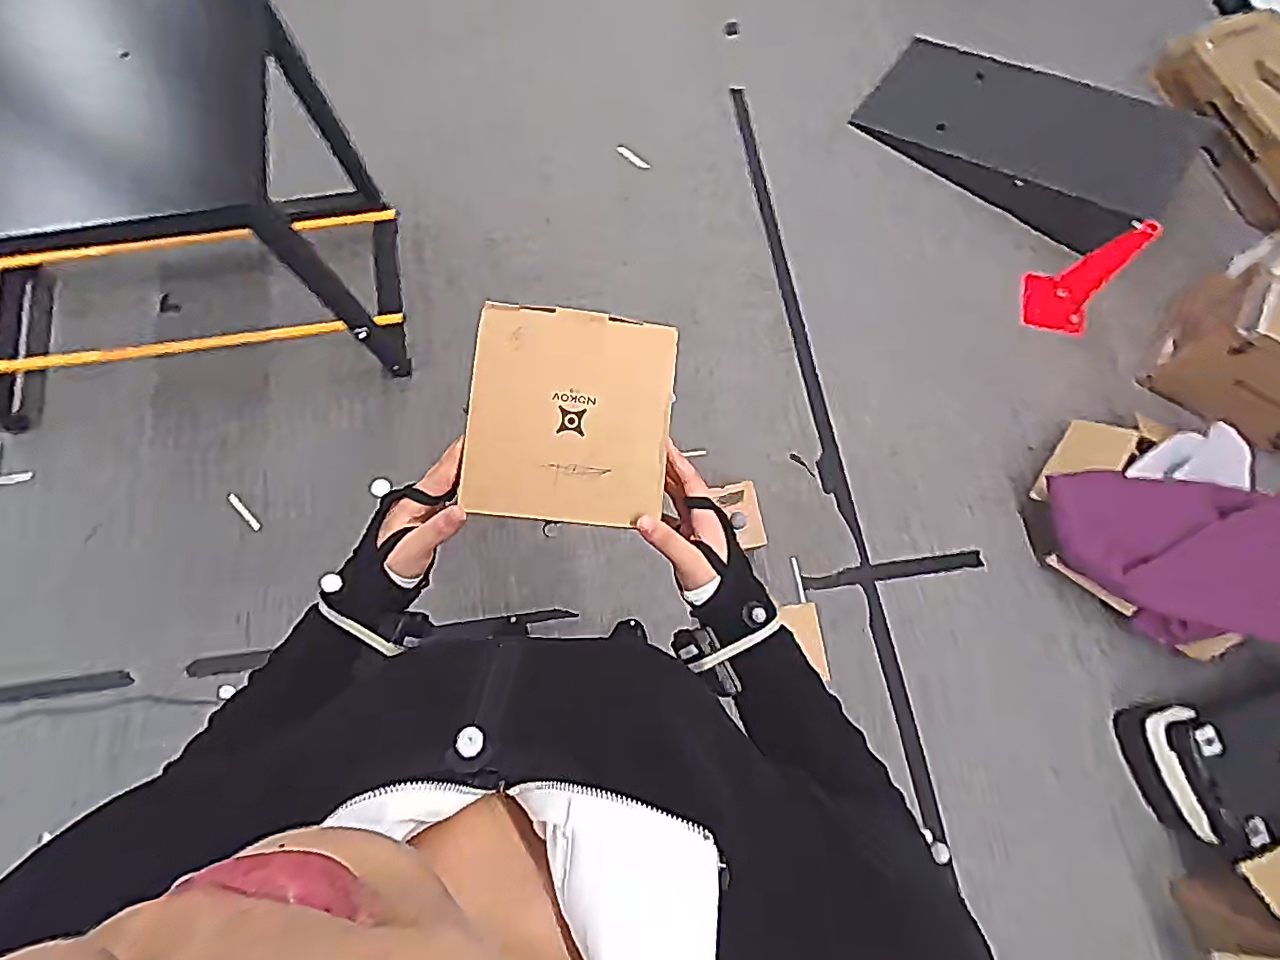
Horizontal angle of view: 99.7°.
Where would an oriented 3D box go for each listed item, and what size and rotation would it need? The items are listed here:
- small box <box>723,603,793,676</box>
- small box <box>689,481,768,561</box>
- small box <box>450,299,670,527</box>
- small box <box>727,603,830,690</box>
[{"bbox_3d":[0.317,0.418,1.403,0.179,0.176,0.168,-9,76,-2],"label":"small box"},{"bbox_3d":[0.233,0.117,1.477,0.168,0.176,0.179,-10,77,-3],"label":"small box"},{"bbox_3d":[-0.072,-0.049,0.522,0.168,0.176,0.179,6,86,-6],"label":"small box"},{"bbox_3d":[0.310,0.376,1.243,0.179,0.176,0.168,-7,76,-2],"label":"small box"}]
